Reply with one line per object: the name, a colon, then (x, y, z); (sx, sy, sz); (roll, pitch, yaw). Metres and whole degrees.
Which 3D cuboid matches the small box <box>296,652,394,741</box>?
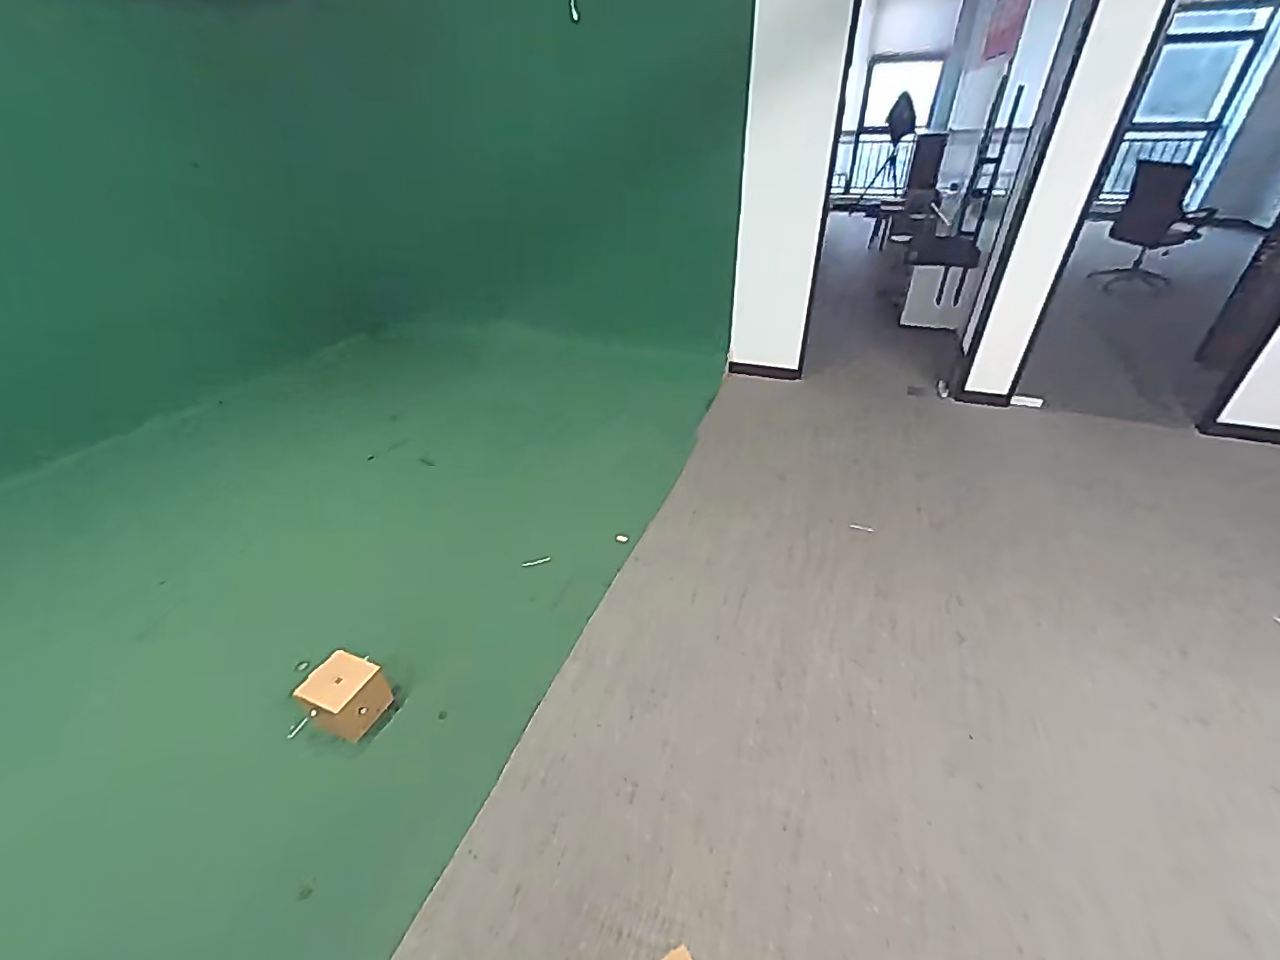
small box: (-0.884, 0.660, 1.640); (0.179, 0.176, 0.168); (12, 37, 20)
